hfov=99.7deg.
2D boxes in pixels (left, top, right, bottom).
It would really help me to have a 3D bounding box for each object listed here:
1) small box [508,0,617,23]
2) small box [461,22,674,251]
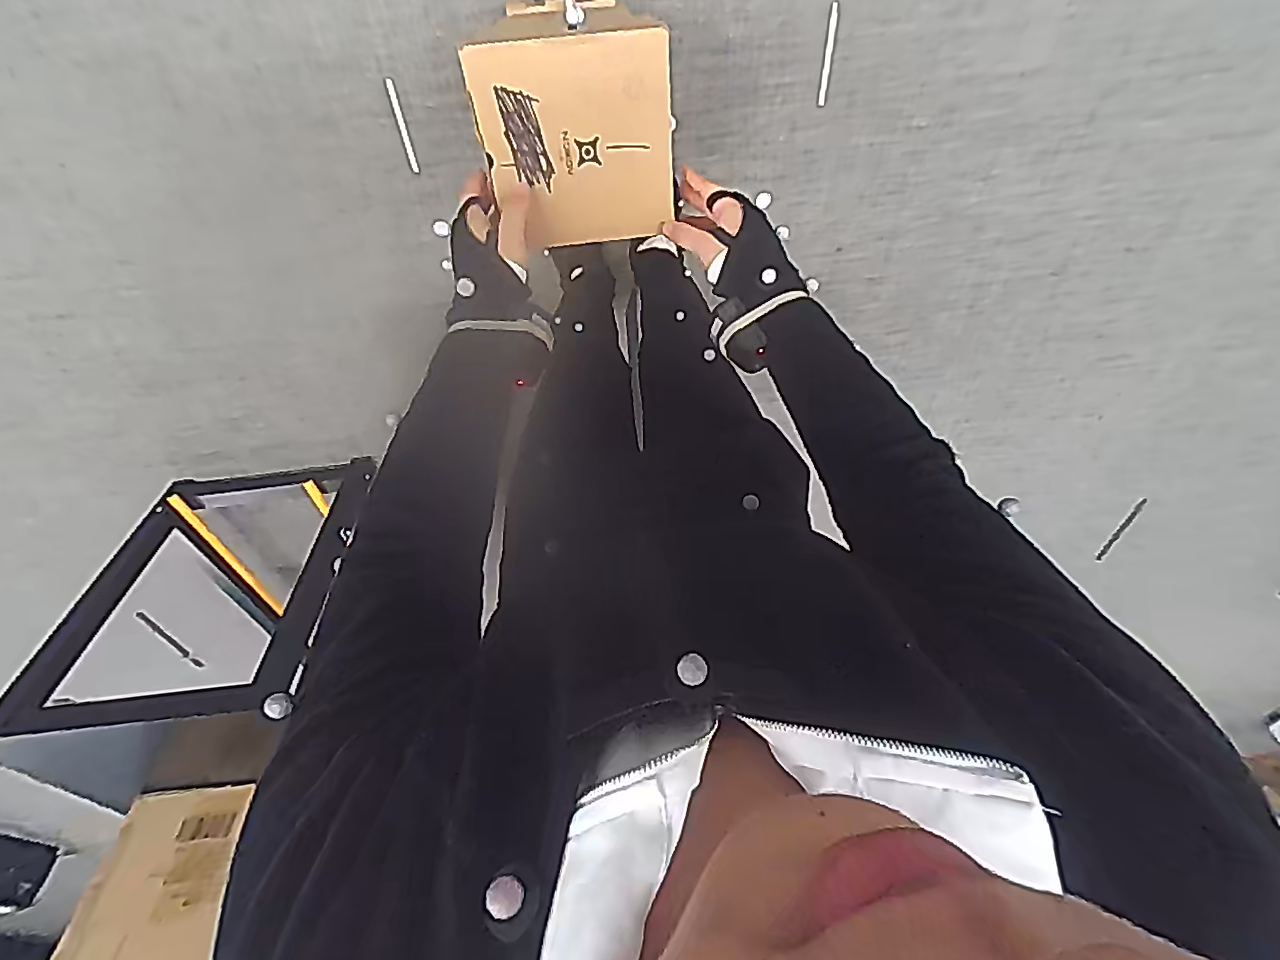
[{"bbox_3d":[-0.119,-0.690,0.912,0.168,0.176,0.179,-5,135,0],"label":"small box"},{"bbox_3d":[-0.062,-0.353,0.554,0.179,0.176,0.168,-6,133,-1],"label":"small box"}]
